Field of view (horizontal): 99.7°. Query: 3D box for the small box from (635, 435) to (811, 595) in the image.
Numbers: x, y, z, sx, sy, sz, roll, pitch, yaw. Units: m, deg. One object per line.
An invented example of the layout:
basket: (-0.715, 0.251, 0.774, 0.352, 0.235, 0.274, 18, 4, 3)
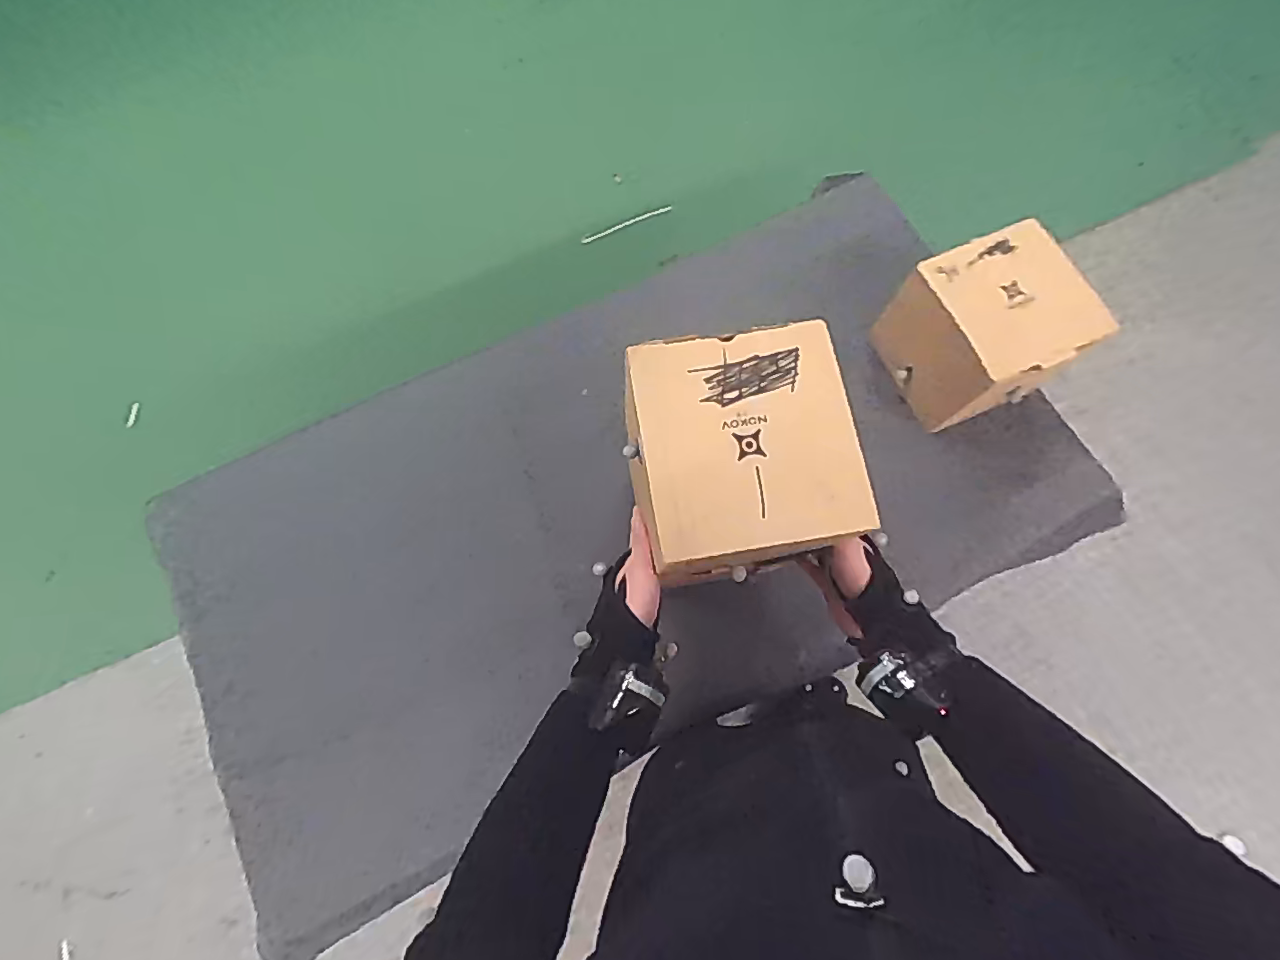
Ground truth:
small box: (0.088, 0.042, 0.655, 0.168, 0.176, 0.179, -9, 75, -3)

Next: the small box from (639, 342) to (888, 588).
small box: (0.091, -0.002, 0.496, 0.168, 0.176, 0.179, -8, 77, -3)

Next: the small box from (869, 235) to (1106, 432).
small box: (0.445, -0.180, 0.727, 0.168, 0.176, 0.179, -23, 75, -4)
